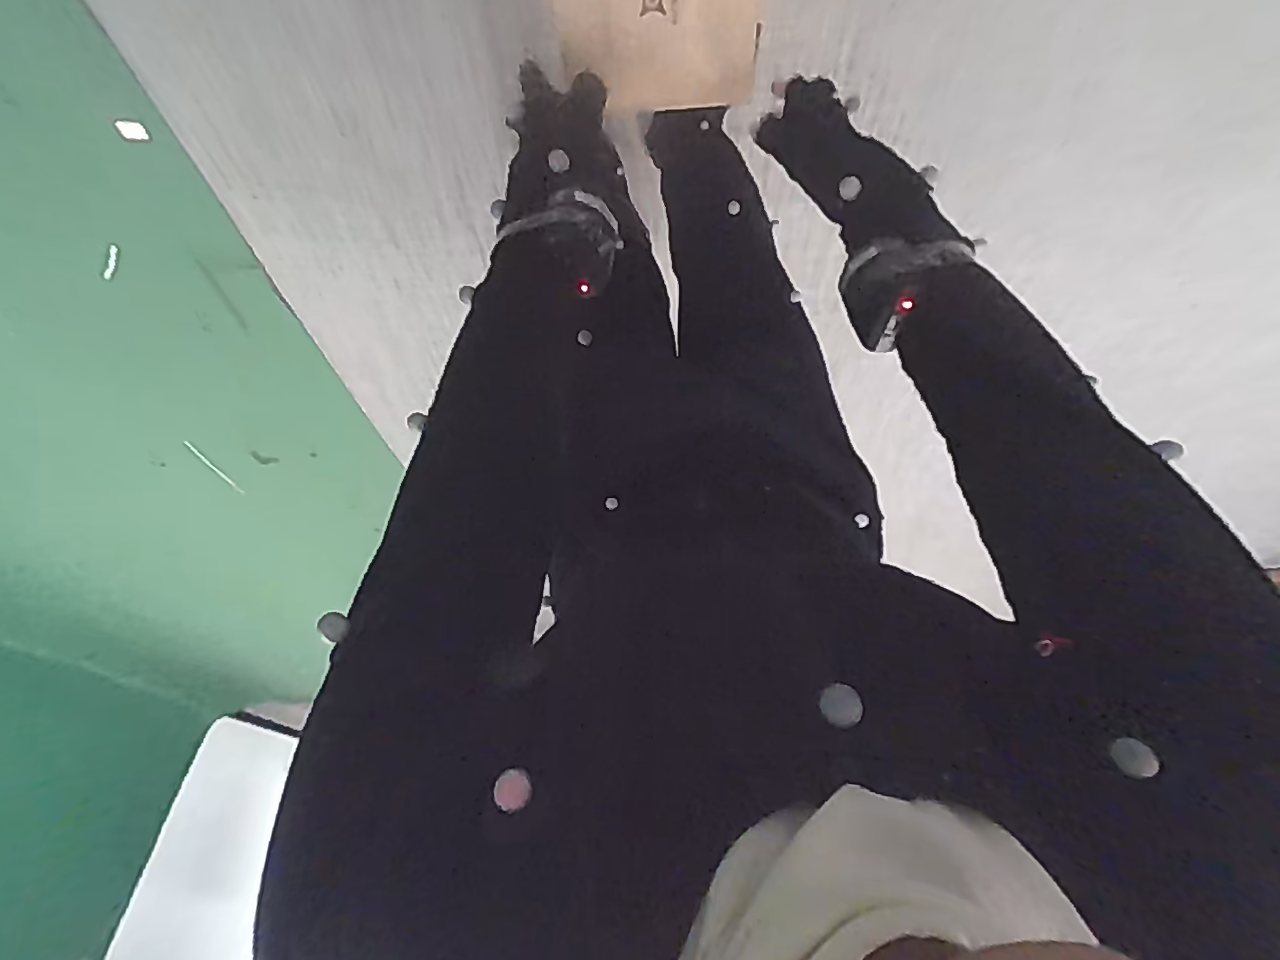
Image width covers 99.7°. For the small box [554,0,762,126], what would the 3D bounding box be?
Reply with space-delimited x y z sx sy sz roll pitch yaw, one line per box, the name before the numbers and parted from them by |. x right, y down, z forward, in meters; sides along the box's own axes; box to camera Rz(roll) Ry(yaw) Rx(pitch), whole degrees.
small box | 0.018 -0.459 0.501 0.179 0.176 0.168 0 144 6
